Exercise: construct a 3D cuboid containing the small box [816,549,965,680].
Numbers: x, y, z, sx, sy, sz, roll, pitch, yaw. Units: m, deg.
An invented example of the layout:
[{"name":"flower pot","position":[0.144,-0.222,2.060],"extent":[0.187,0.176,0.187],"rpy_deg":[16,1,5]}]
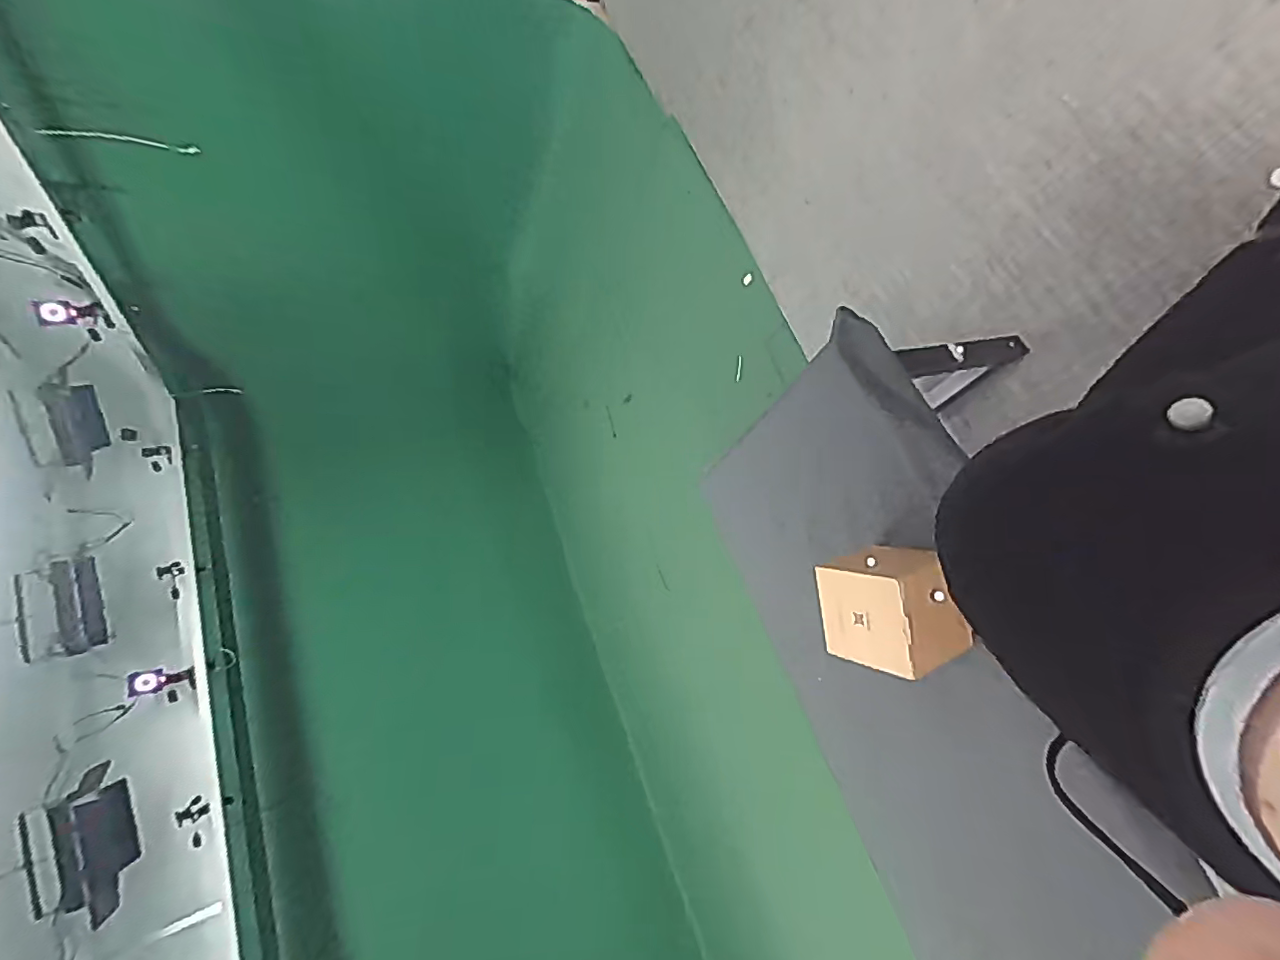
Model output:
[{"name":"small box","position":[0.445,0.224,0.956],"extent":[0.179,0.176,0.168],"rpy_deg":[-4,97,62]}]
